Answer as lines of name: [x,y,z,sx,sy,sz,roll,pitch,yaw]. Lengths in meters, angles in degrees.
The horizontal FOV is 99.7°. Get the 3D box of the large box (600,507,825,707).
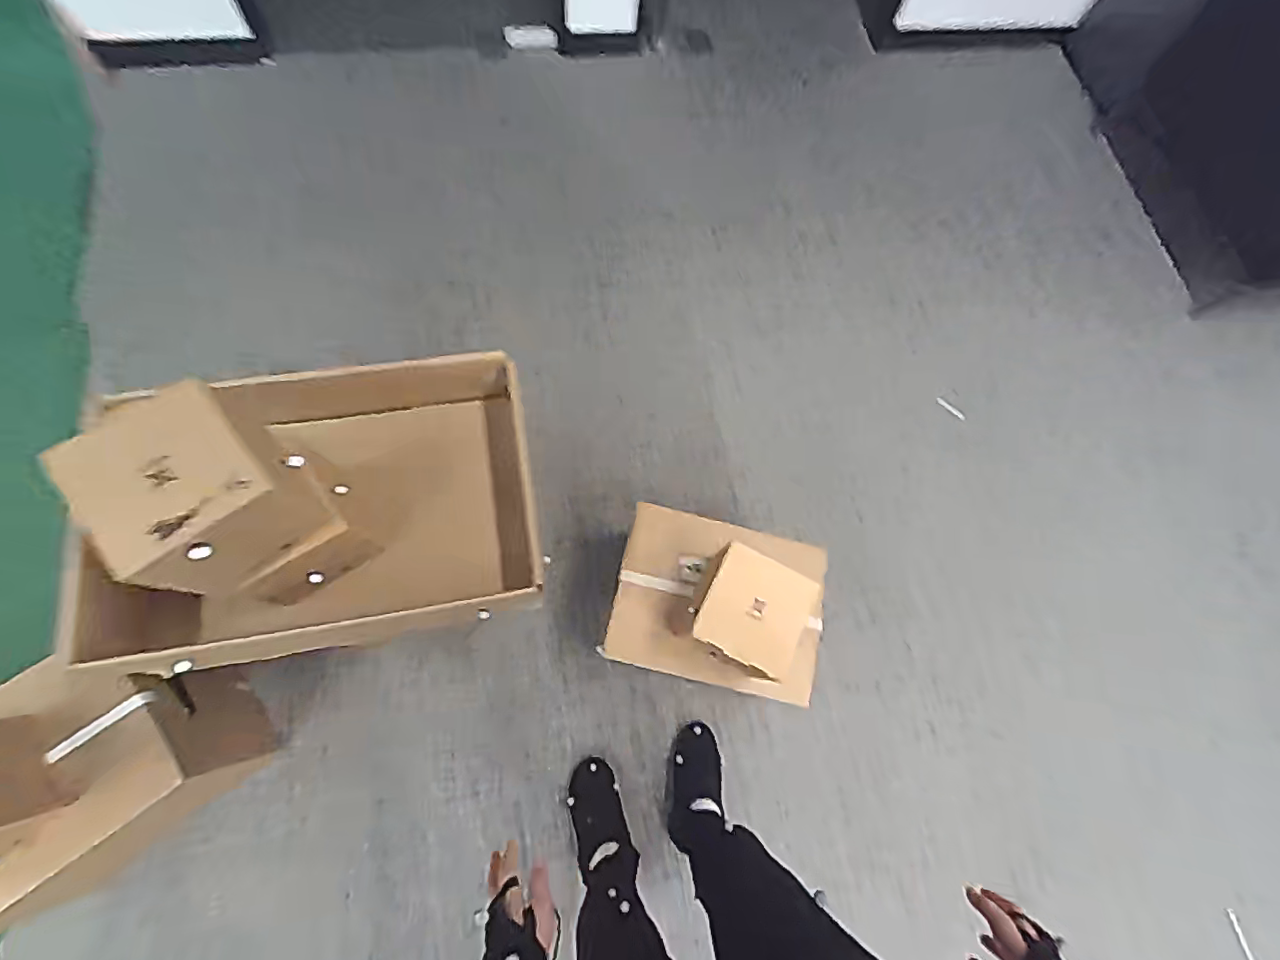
large box: [0.143,0.284,1.186,0.408,0.320,0.320,14,70,0]

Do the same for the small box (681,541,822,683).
small box: [0.185,0.231,0.949,0.168,0.176,0.179,27,73,3]

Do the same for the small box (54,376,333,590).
small box: [-0.524,0.013,0.663,0.168,0.176,0.179,-37,79,-16]

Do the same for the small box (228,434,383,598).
small box: [-0.524,0.064,0.819,0.168,0.176,0.179,-31,78,-15]

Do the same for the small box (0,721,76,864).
small box: [-0.976,0.461,0.754,0.168,0.176,0.179,-40,80,-15]
